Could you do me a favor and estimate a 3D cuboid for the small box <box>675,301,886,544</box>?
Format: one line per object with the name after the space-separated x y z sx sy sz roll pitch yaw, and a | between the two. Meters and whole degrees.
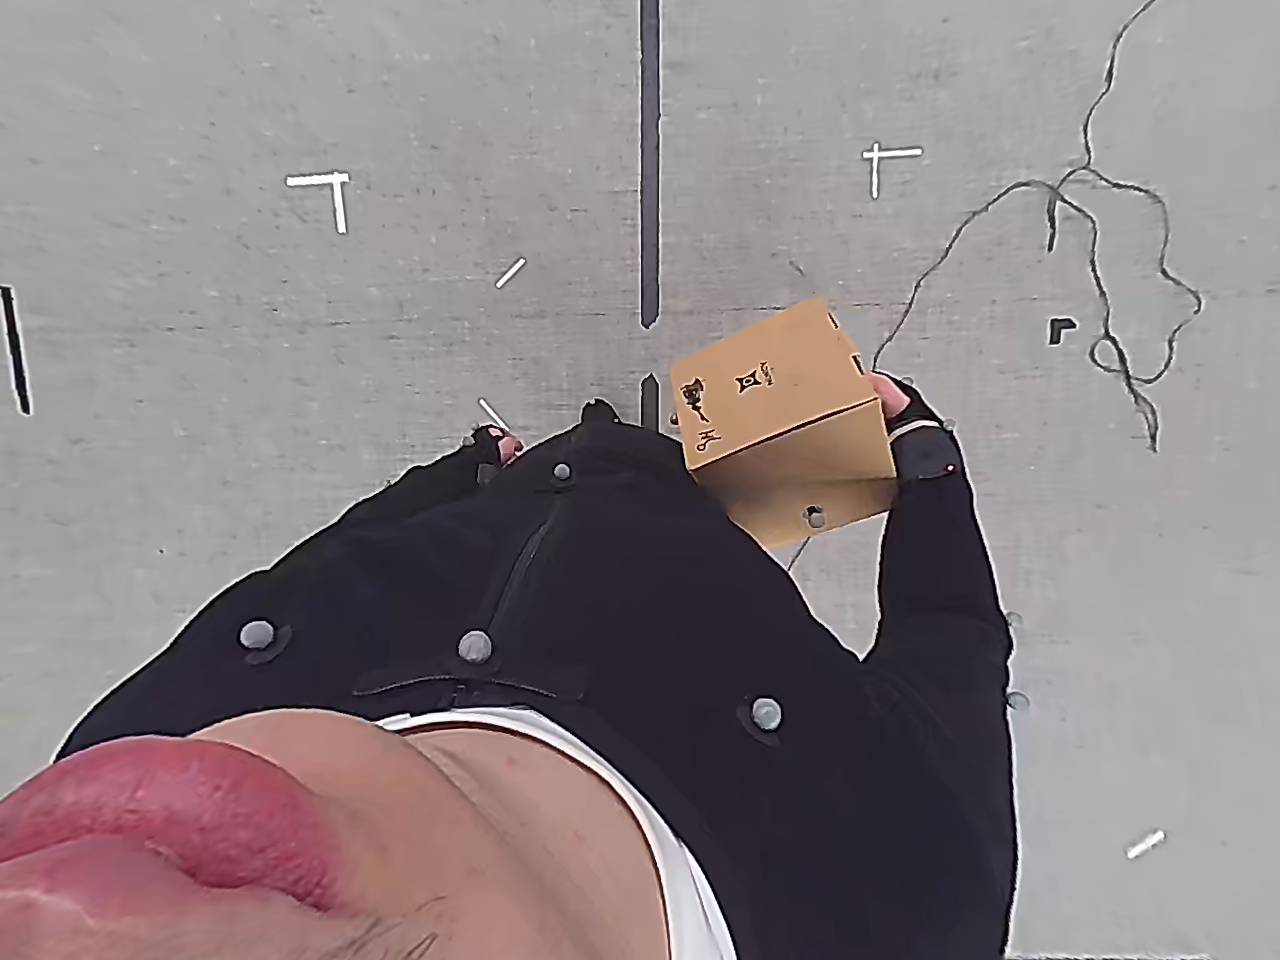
0.157 -0.056 0.600 0.179 0.168 0.176 -22 135 17 | small box
